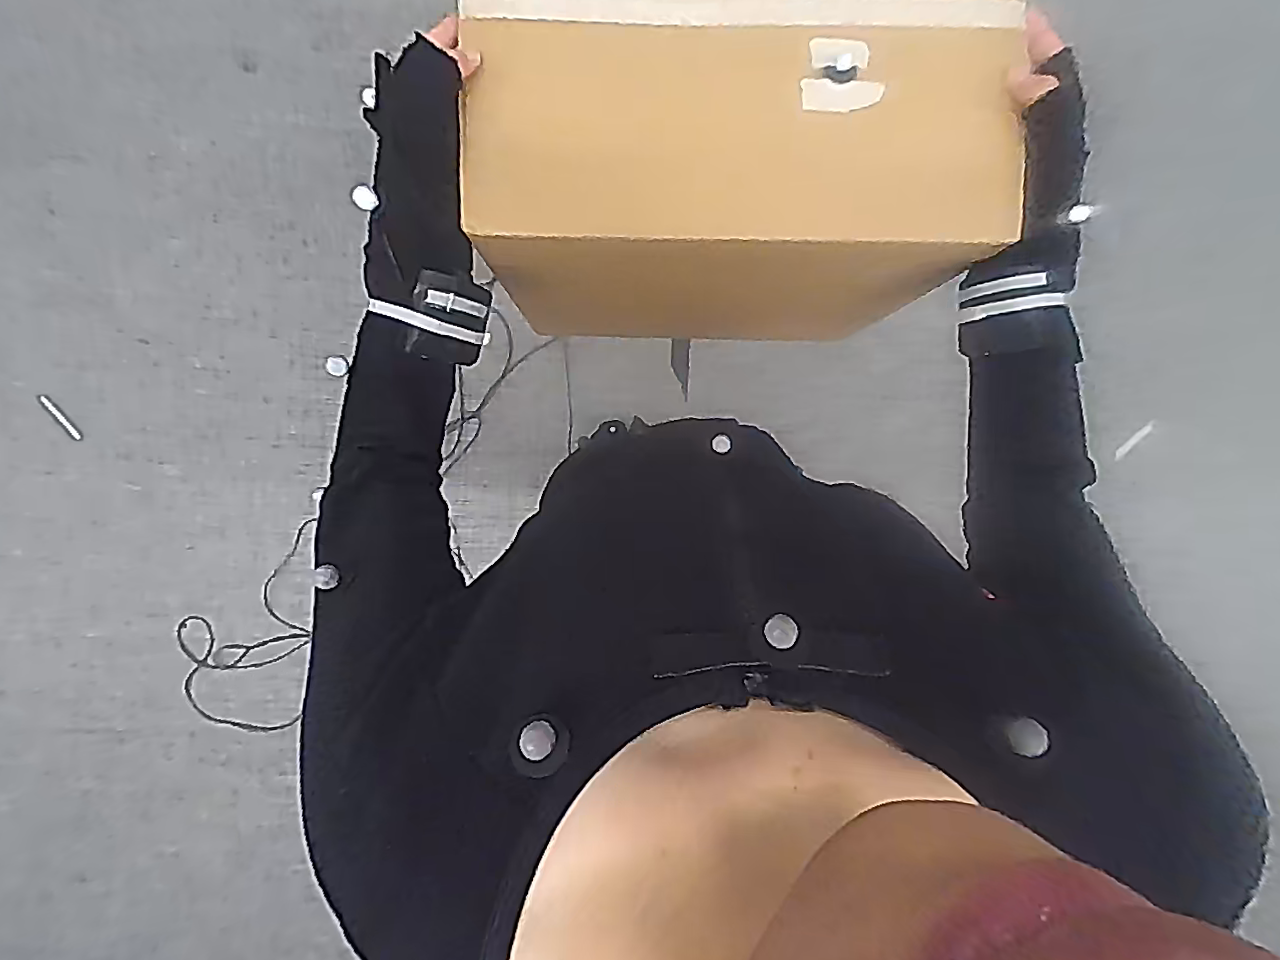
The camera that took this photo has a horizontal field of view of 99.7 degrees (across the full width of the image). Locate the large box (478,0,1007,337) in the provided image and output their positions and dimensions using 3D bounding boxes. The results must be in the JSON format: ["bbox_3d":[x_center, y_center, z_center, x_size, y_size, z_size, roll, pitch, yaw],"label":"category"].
[{"bbox_3d":[0.072,-0.339,0.552,0.408,0.320,0.320,0,91,-1],"label":"large box"}]
